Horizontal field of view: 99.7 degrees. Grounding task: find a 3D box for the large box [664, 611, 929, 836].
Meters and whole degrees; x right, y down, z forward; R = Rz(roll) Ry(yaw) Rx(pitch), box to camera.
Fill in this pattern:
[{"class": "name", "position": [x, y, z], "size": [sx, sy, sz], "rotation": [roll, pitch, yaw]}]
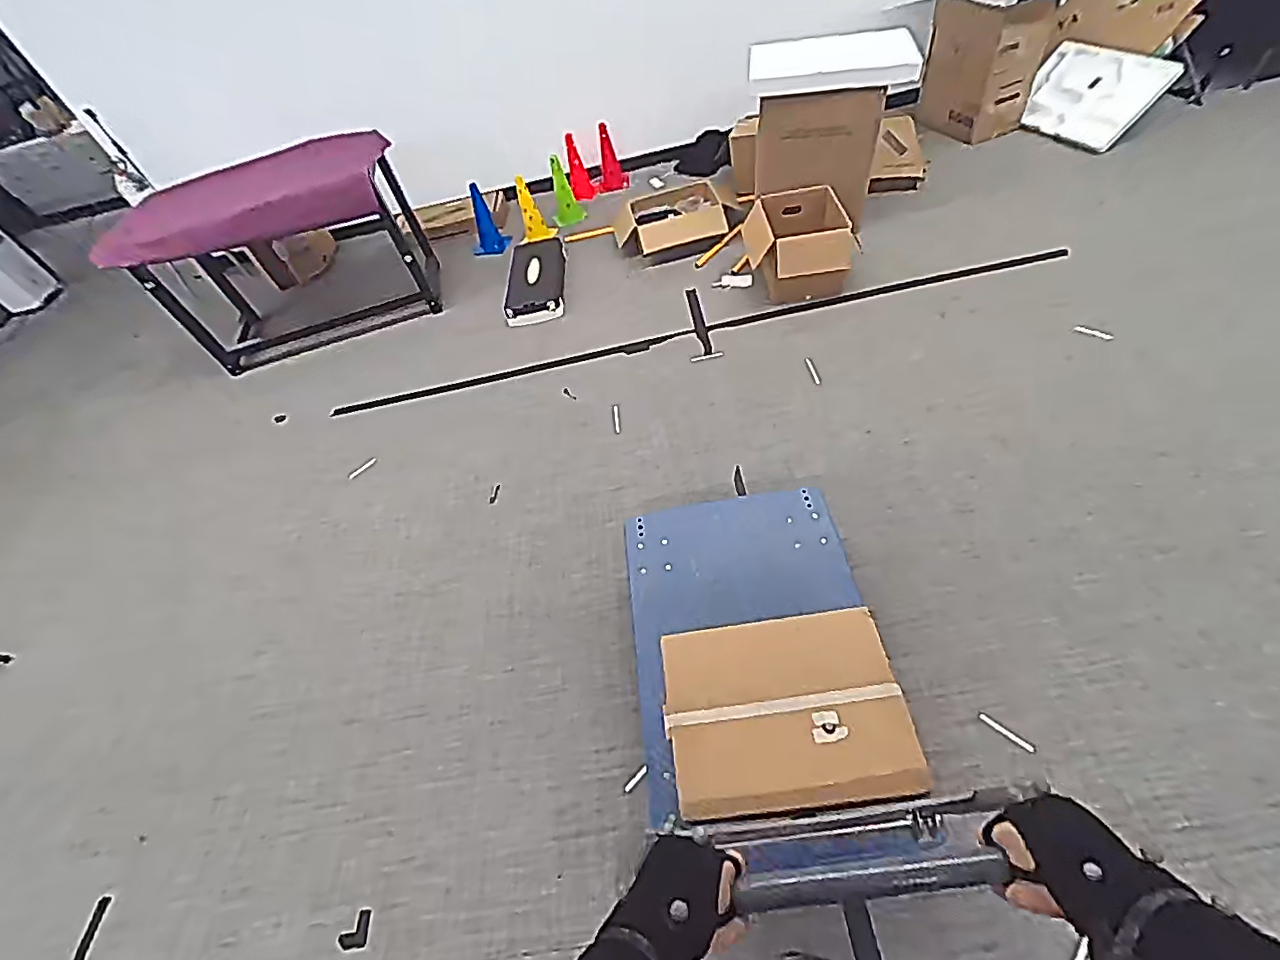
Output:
[{"class": "large box", "position": [0.276, 0.496, 1.082], "size": [0.408, 0.320, 0.320], "rotation": [-9, 54, 3]}]
